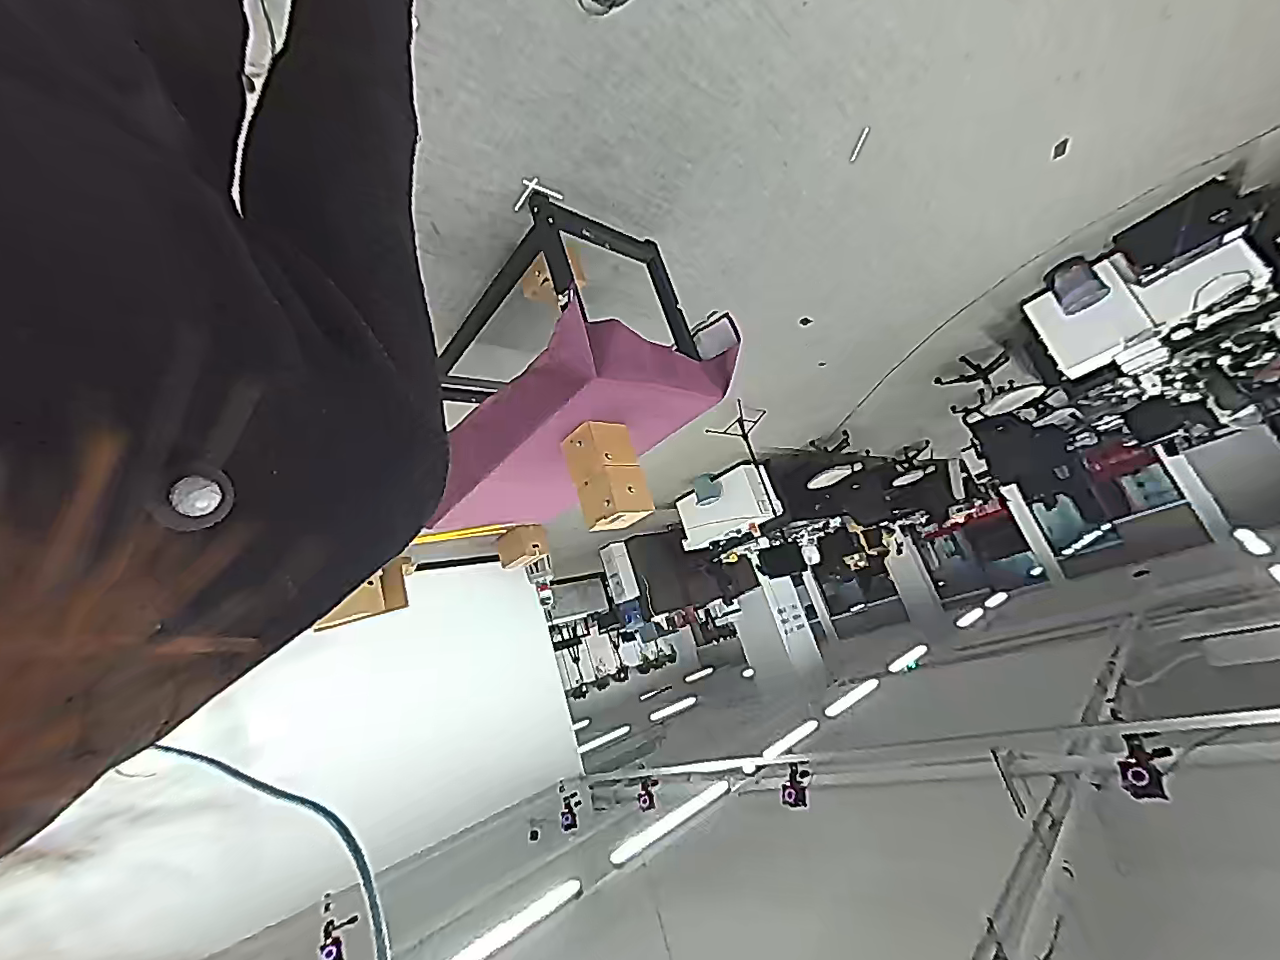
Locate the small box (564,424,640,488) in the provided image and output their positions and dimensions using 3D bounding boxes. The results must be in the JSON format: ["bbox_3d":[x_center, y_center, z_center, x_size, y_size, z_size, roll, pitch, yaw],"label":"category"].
[{"bbox_3d":[-0.135,-0.083,1.866,0.179,0.176,0.168,0,155,-45],"label":"small box"}]
